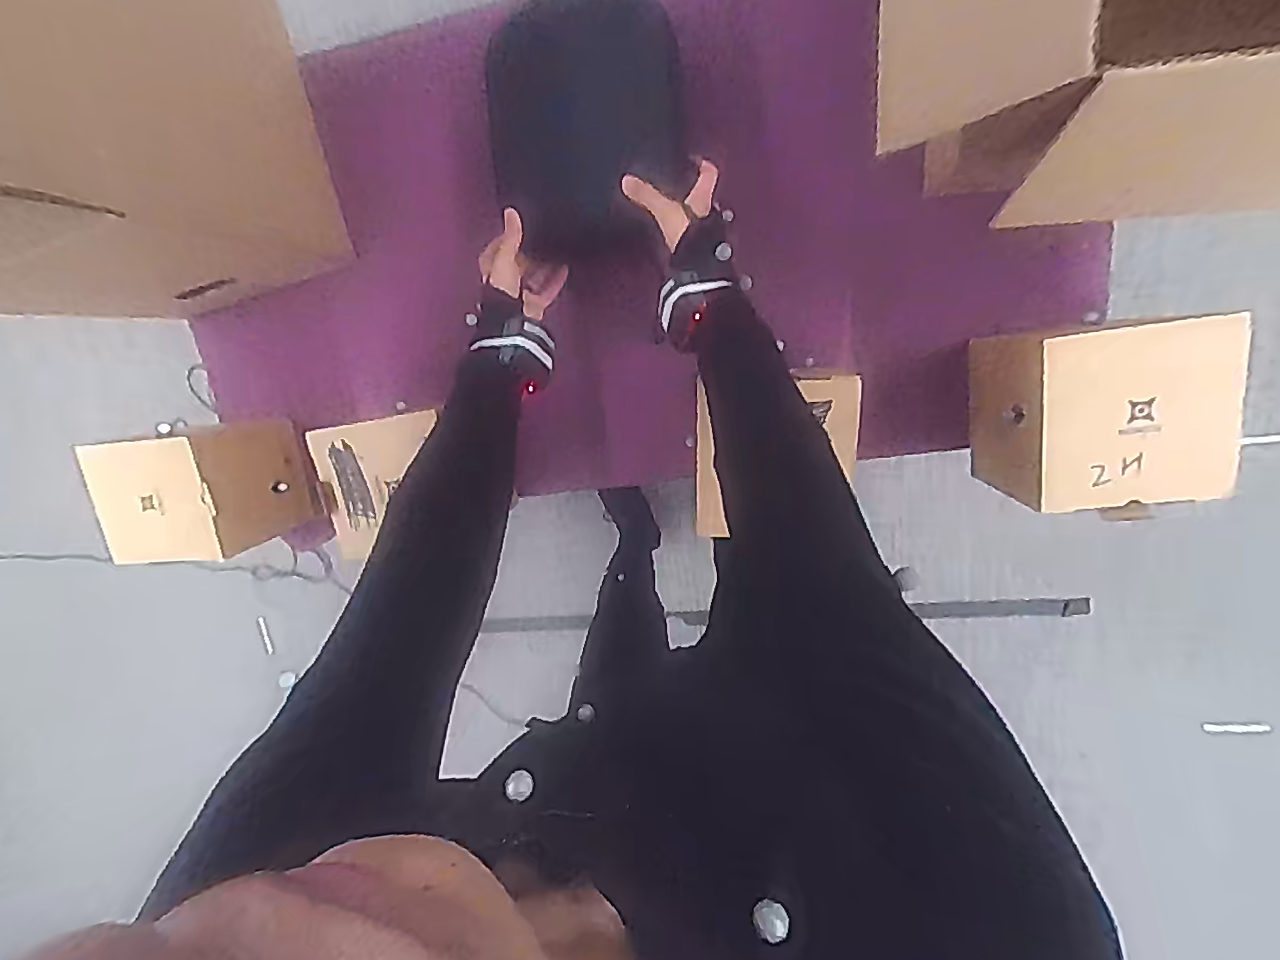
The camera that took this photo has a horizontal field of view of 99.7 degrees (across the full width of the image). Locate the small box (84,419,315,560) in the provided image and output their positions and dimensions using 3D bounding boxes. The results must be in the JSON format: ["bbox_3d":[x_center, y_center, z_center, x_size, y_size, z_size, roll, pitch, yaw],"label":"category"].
[{"bbox_3d":[-0.617,0.007,0.780,0.179,0.176,0.168,-4,104,8],"label":"small box"}]

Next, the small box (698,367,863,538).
[{"bbox_3d":[0.155,-0.044,0.648,0.168,0.176,0.179,1,106,9],"label":"small box"}]

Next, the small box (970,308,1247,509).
[{"bbox_3d":[0.480,-0.080,0.586,0.168,0.176,0.179,-6,103,11],"label":"small box"}]
